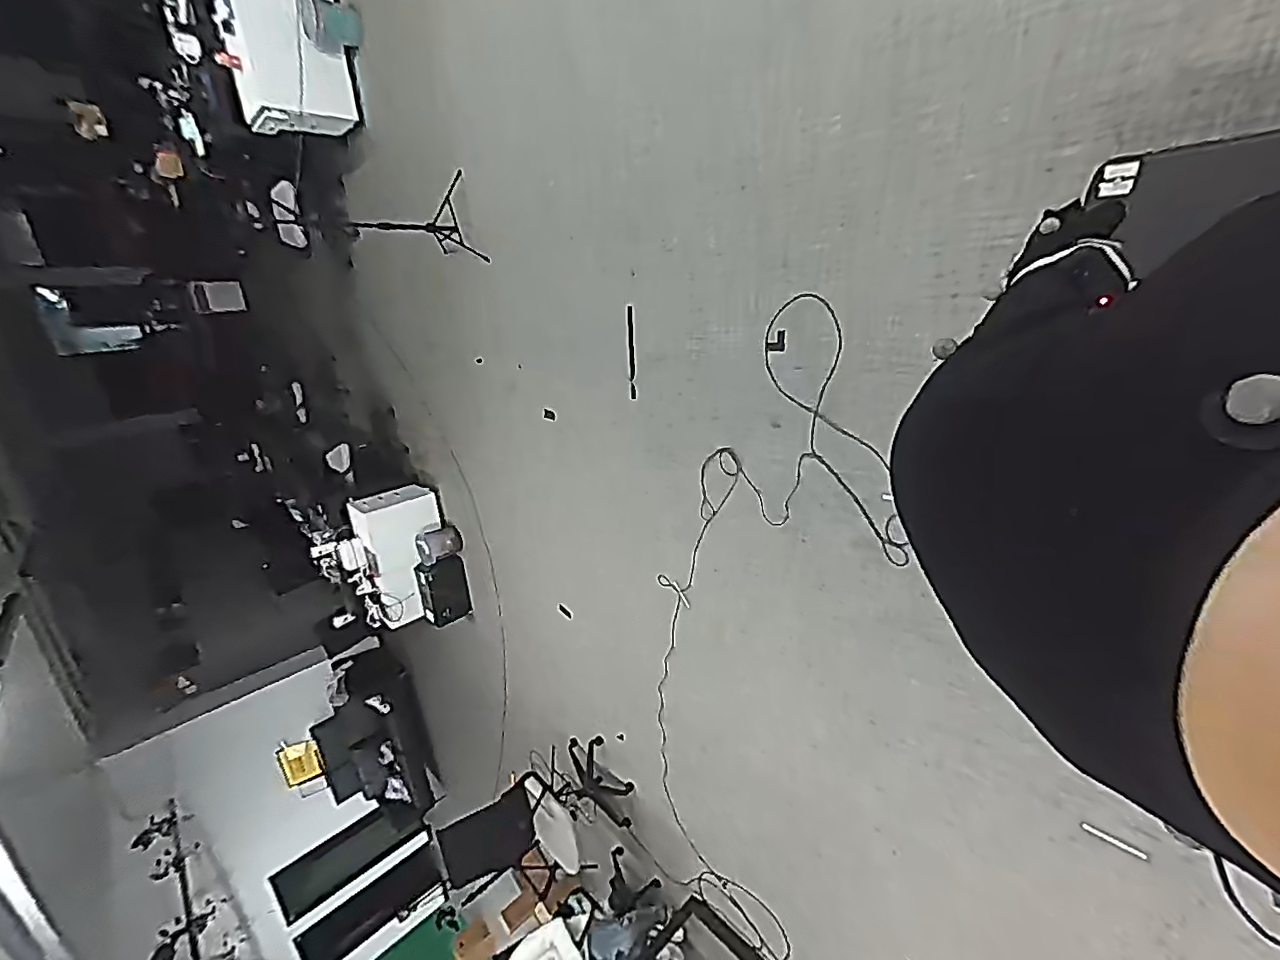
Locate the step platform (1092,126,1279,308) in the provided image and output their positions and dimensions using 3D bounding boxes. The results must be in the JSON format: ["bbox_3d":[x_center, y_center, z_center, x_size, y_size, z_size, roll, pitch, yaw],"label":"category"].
[{"bbox_3d":[1.188,-0.447,0.887,0.684,0.204,0.286,13,115,44],"label":"step platform"}]
